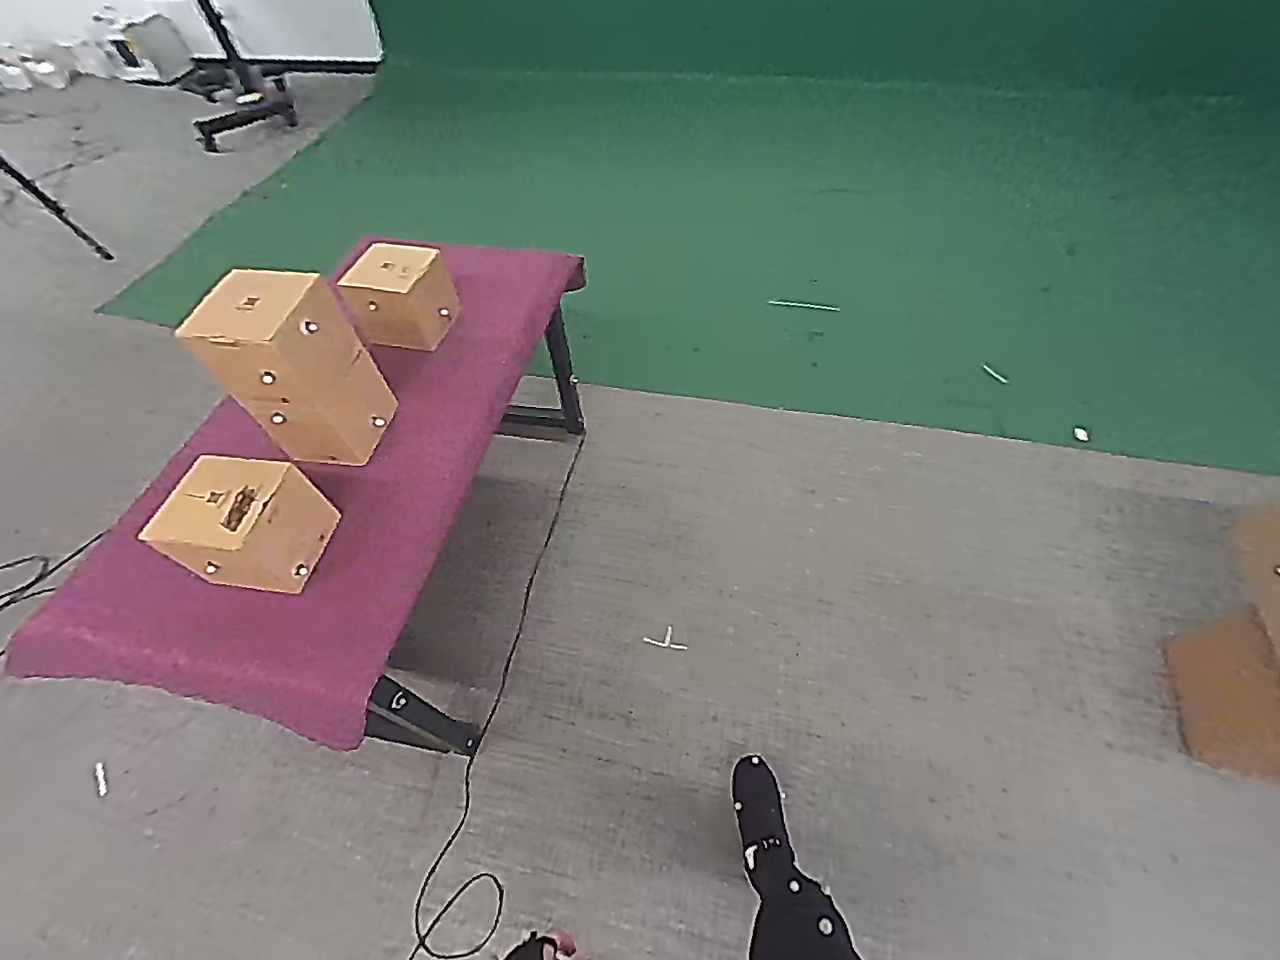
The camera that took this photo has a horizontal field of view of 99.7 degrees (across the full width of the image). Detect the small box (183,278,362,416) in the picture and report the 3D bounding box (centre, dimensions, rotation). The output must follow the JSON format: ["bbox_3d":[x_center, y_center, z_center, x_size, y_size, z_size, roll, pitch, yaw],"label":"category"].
[{"bbox_3d":[-0.633,-0.233,0.963,0.168,0.176,0.179,6,55,6],"label":"small box"}]

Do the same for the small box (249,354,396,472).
[{"bbox_3d":[-0.625,-0.140,1.097,0.168,0.176,0.179,5,54,8],"label":"small box"}]

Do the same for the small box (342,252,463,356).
[{"bbox_3d":[-0.556,-0.418,1.292,0.179,0.176,0.168,10,56,11],"label":"small box"}]

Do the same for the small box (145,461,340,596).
[{"bbox_3d":[-0.665,0.088,0.934,0.179,0.176,0.168,5,54,8],"label":"small box"}]
